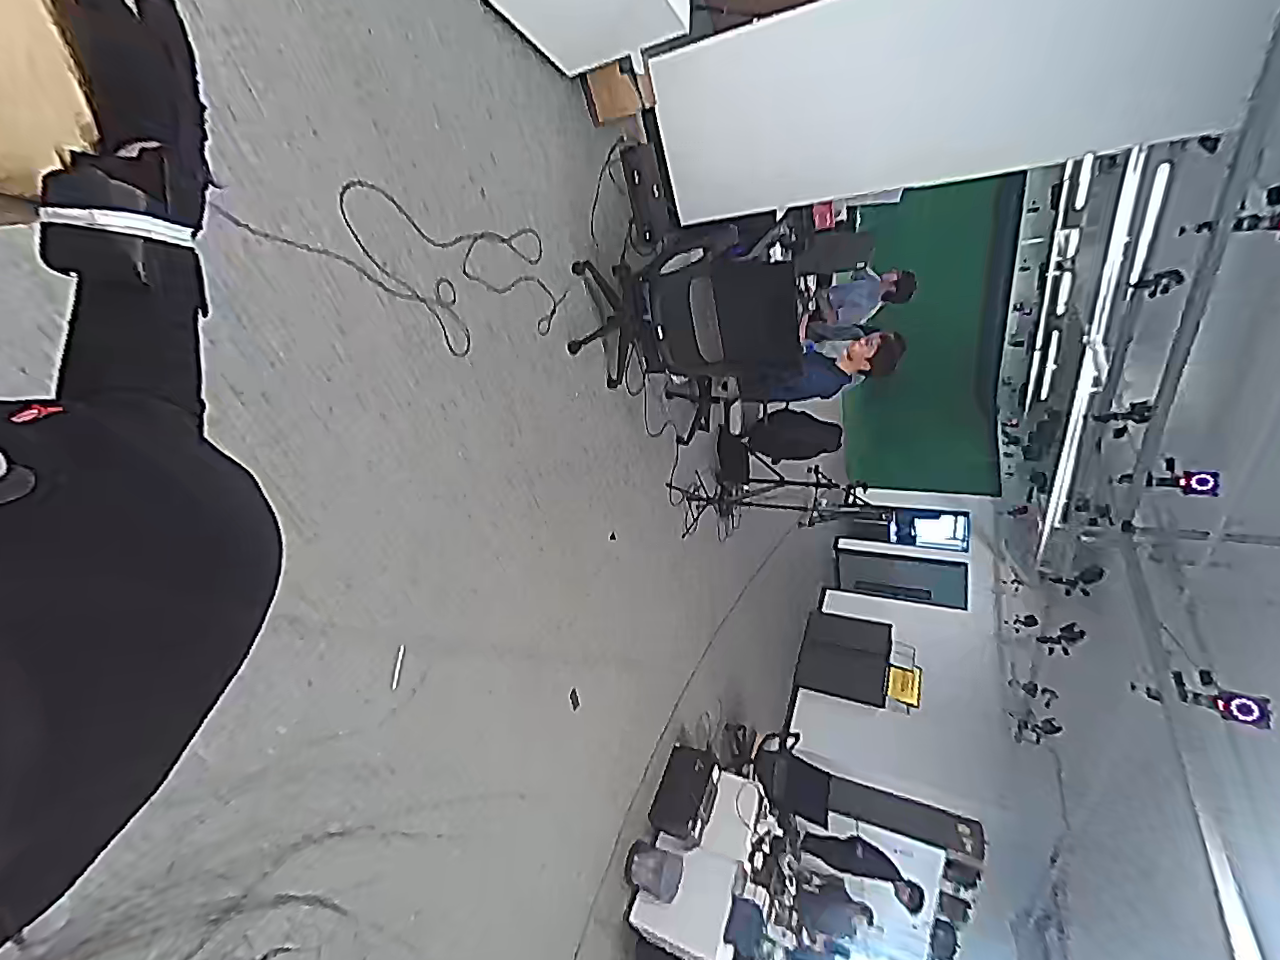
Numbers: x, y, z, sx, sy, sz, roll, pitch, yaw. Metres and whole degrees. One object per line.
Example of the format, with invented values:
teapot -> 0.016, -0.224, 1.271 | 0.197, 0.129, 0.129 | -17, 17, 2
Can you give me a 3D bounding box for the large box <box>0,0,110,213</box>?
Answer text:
large box -> -0.594, -0.355, 0.261 | 0.408, 0.320, 0.320 | -10, 111, -62
